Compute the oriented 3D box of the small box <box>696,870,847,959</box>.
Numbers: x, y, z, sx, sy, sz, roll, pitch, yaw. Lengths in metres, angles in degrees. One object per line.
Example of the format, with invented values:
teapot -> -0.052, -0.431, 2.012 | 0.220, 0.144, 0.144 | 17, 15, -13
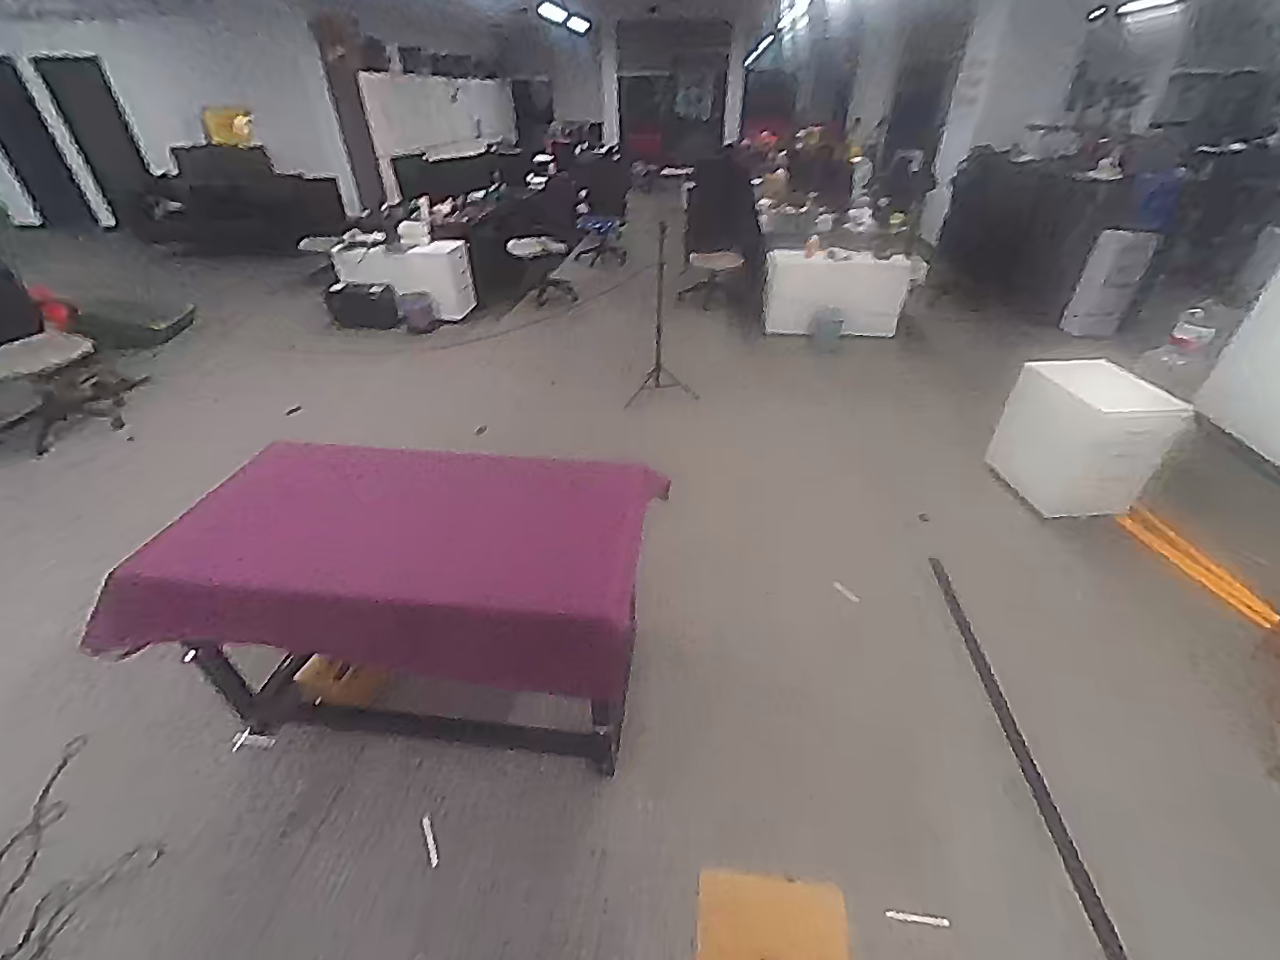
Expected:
small box -> 0.159, 0.586, 0.649 | 0.168, 0.176, 0.179 | -4, 57, 15
